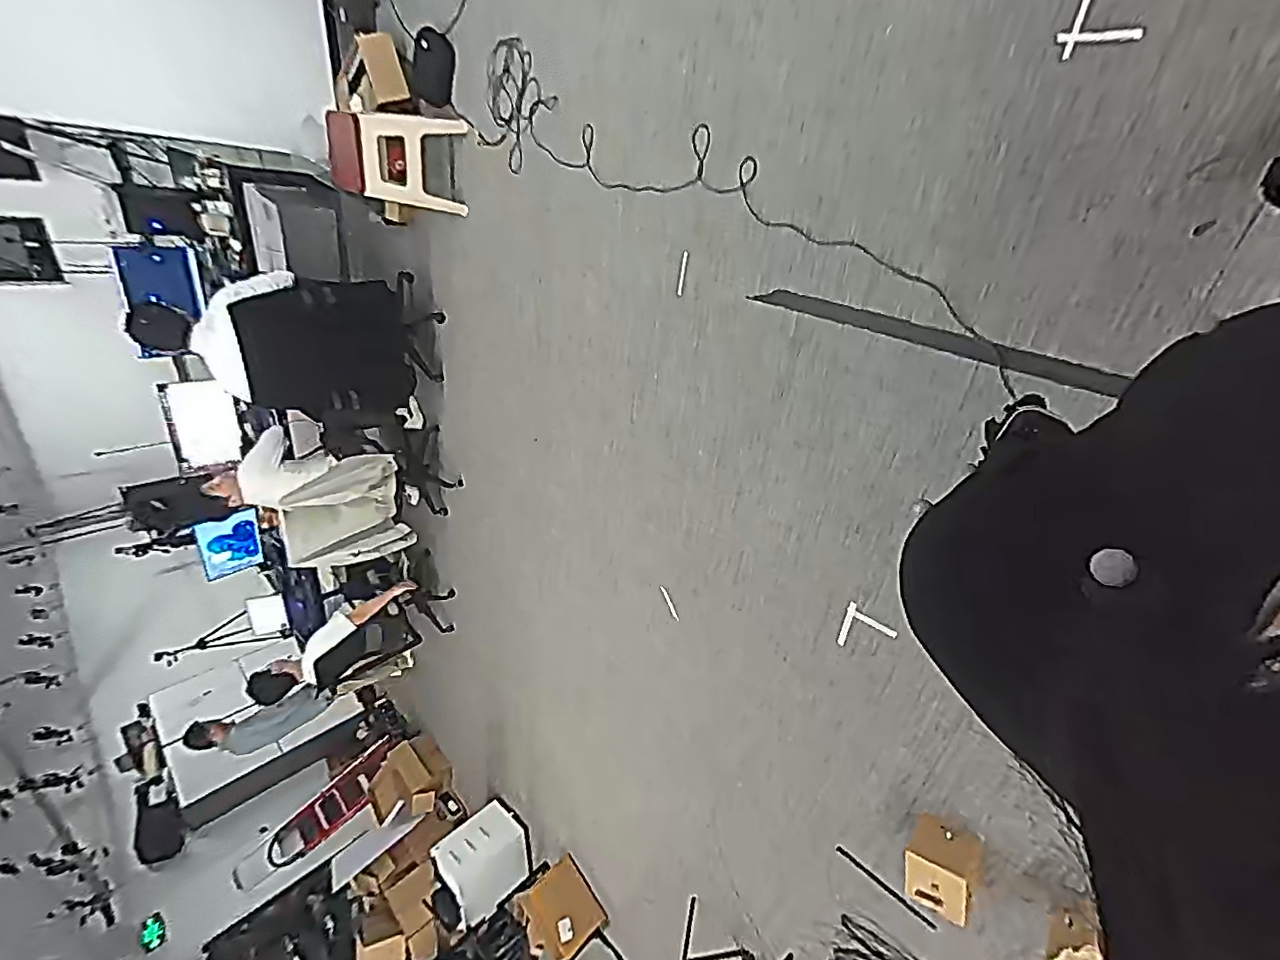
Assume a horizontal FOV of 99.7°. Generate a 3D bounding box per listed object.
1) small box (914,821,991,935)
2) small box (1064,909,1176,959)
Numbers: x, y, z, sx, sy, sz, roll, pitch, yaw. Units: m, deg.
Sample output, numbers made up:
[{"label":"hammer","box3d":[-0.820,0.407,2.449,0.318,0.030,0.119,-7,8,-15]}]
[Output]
[{"label":"small box","box3d":[0.943,1.189,1.629,0.168,0.176,0.179,7,109,44]},{"label":"small box","box3d":[1.218,1.239,1.369,0.179,0.176,0.168,41,131,27]}]
